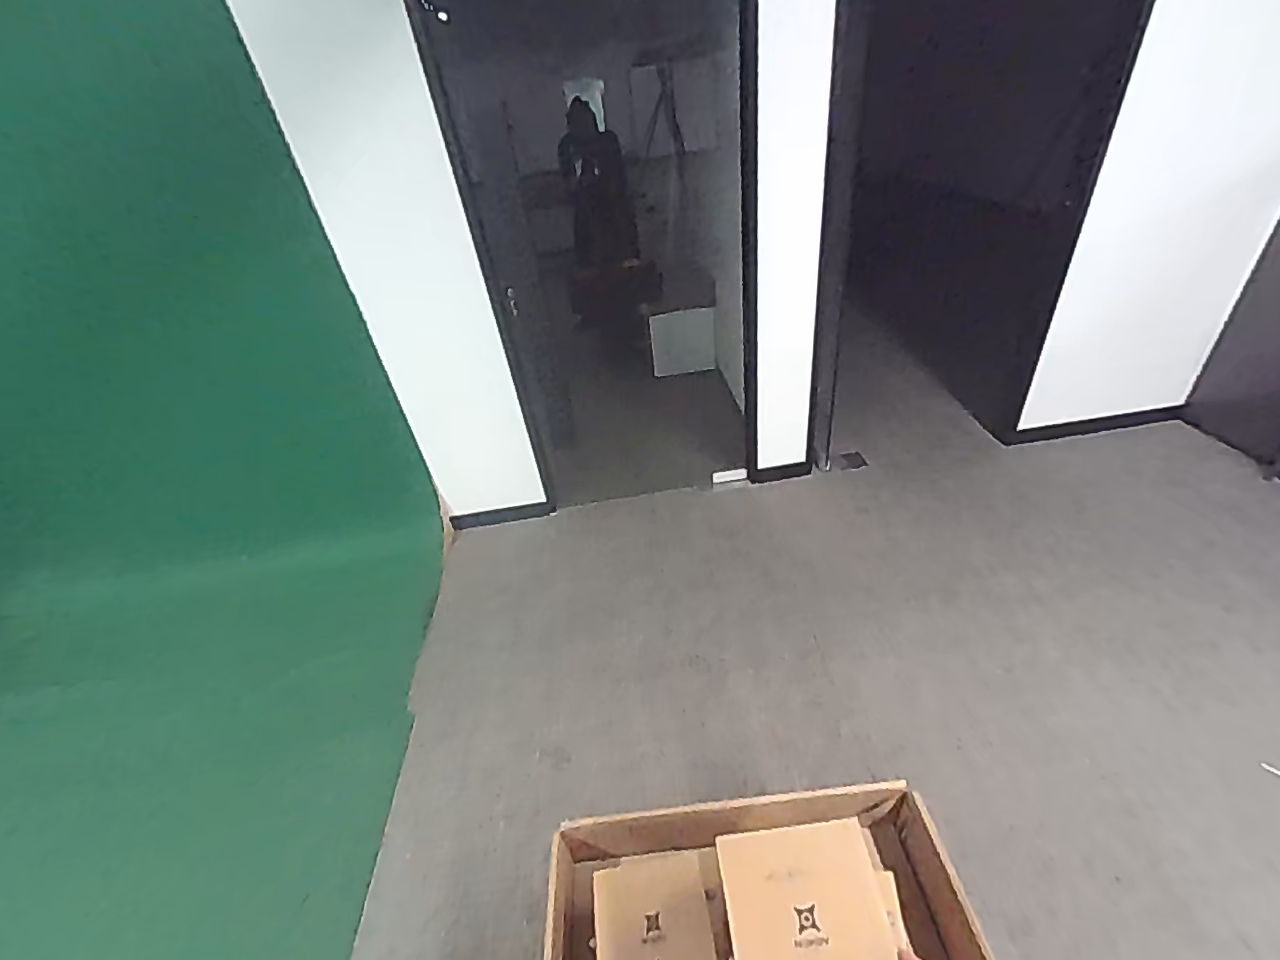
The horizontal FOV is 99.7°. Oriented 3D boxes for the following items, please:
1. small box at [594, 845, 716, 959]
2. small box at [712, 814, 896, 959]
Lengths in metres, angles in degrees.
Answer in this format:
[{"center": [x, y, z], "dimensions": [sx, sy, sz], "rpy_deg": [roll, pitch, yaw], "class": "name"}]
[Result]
[{"center": [0.025, 0.689, 0.811], "dimensions": [0.168, 0.176, 0.179], "rpy_deg": [-9, 36, -1], "class": "small box"}, {"center": [0.181, 0.501, 0.618], "dimensions": [0.168, 0.176, 0.179], "rpy_deg": [-9, 50, 3], "class": "small box"}]
